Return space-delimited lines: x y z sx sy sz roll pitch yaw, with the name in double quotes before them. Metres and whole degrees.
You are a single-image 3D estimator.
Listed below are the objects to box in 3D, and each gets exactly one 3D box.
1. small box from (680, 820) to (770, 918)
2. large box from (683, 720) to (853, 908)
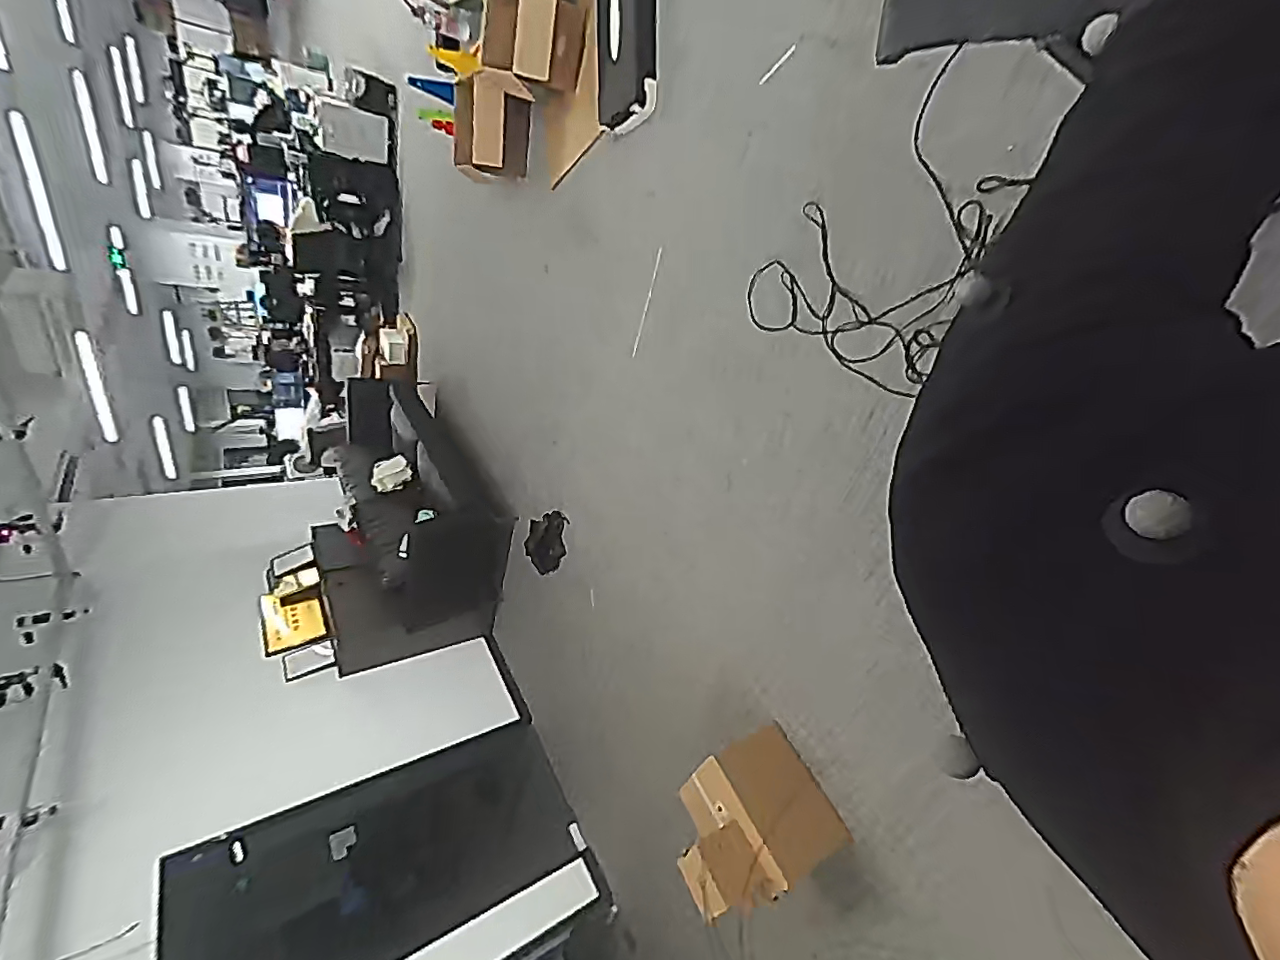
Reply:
"small box" 0.257 1.172 1.643 0.179 0.176 0.168 52 137 34
"large box" 0.418 1.109 1.826 0.408 0.320 0.320 55 136 35
